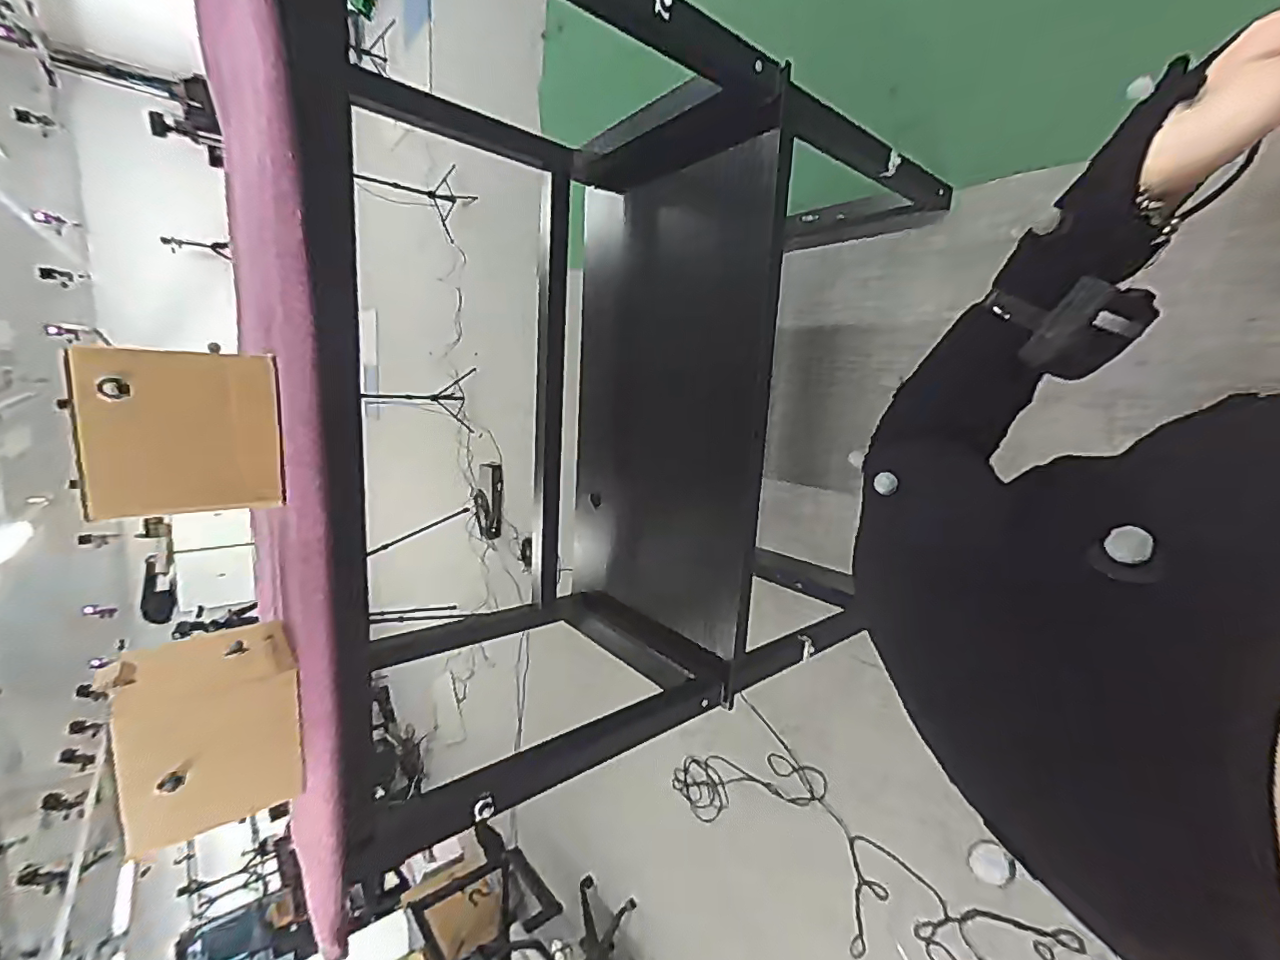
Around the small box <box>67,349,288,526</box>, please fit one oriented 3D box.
[{"bbox_3d":[-0.518,-0.057,0.630,0.168,0.176,0.179,15,105,51],"label":"small box"}]

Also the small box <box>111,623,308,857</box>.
[{"bbox_3d":[-0.525,0.303,0.674,0.168,0.176,0.179,13,104,48],"label":"small box"}]
